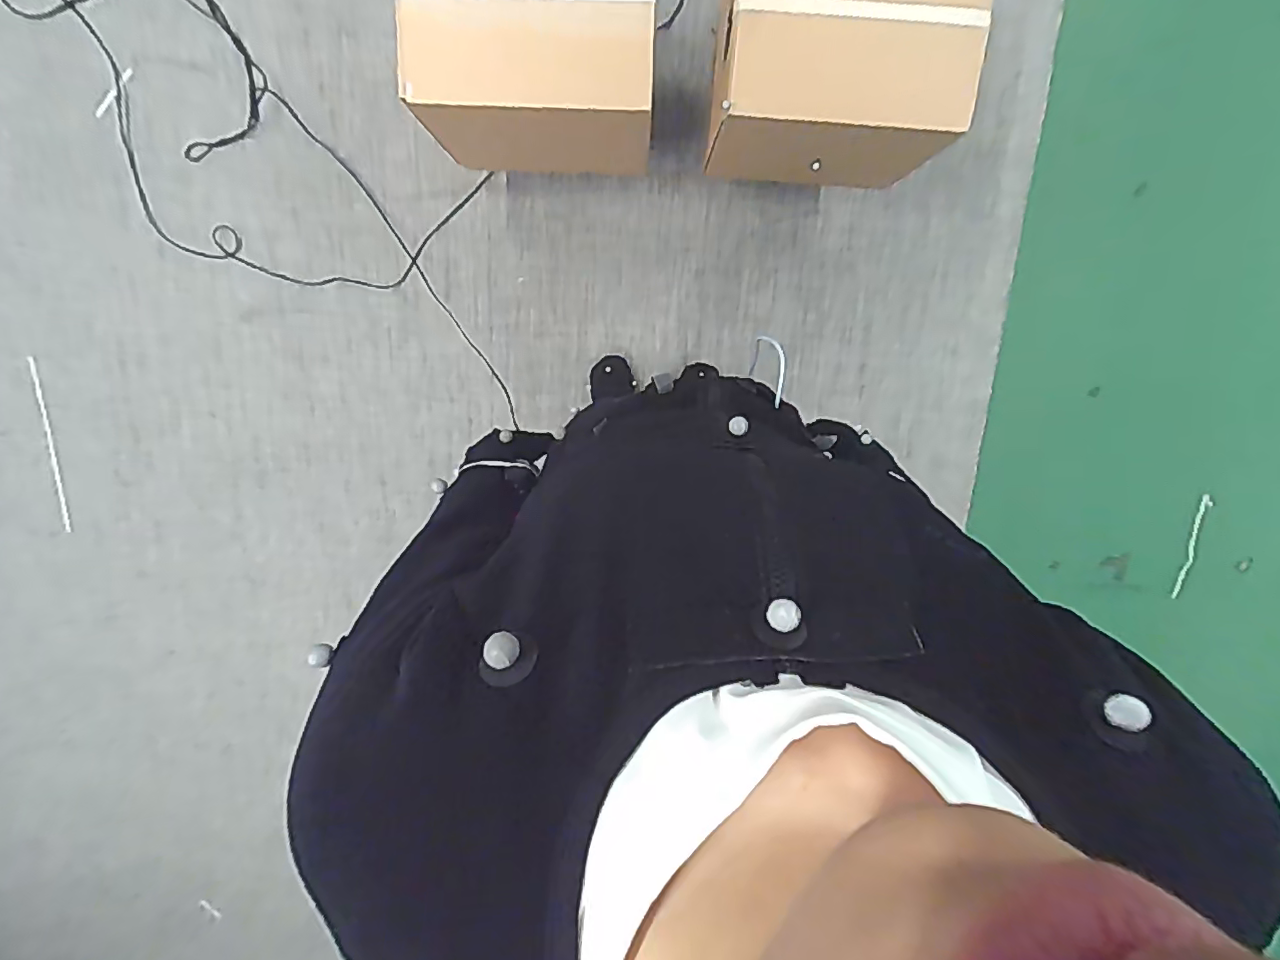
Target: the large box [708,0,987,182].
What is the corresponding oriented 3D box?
[{"bbox_3d":[0.356,-0.777,1.014,0.408,0.320,0.320,4,102,-1],"label":"large box"}]
